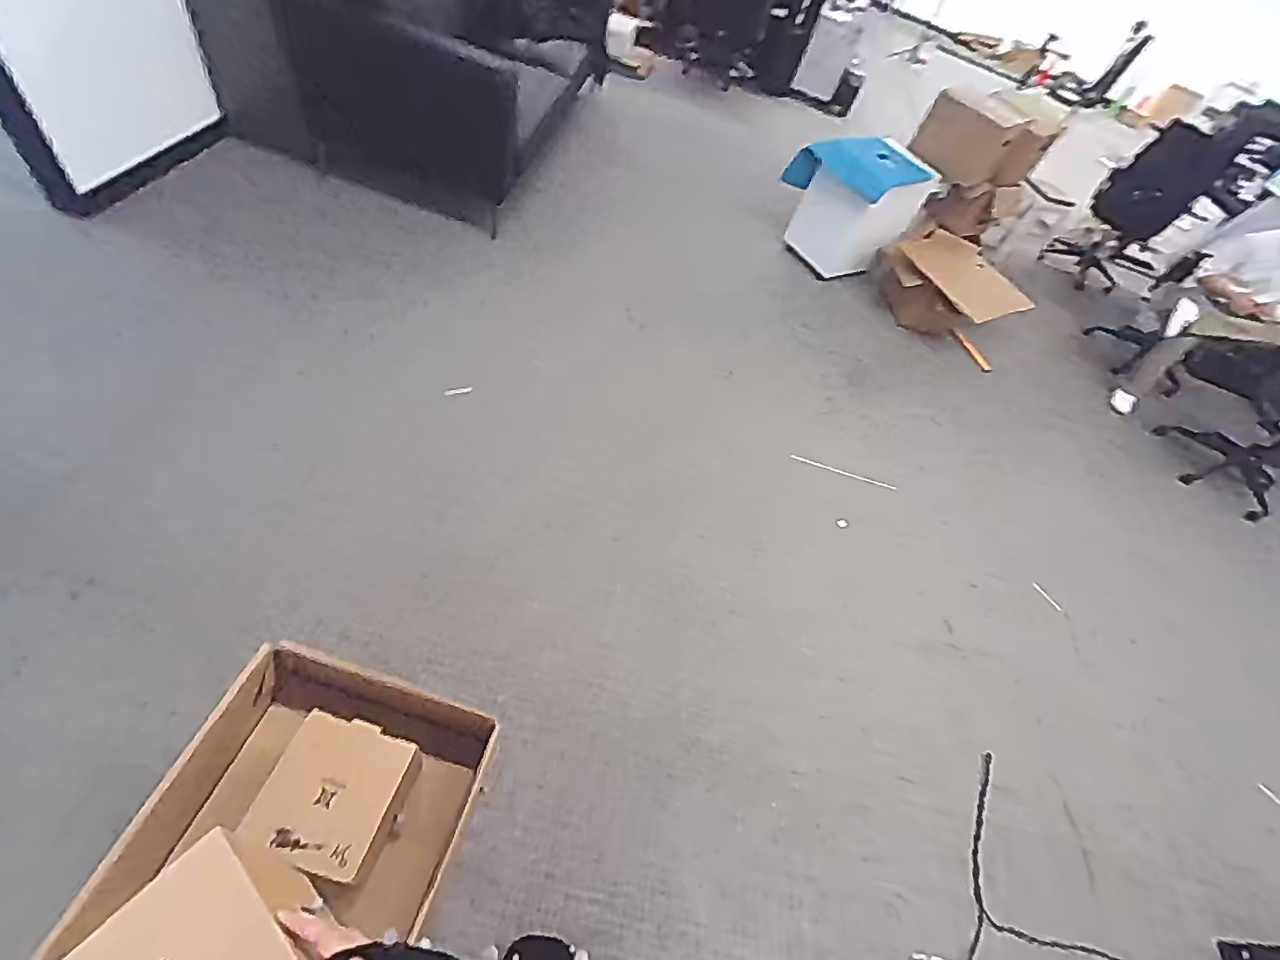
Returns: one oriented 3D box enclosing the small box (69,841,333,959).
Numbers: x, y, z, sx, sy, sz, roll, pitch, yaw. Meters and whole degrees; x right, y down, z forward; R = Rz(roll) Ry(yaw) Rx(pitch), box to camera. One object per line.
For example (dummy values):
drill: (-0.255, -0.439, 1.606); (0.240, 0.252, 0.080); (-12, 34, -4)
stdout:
small box: (-0.376, 0.467, 0.459); (0.168, 0.176, 0.179); (23, 47, 32)
